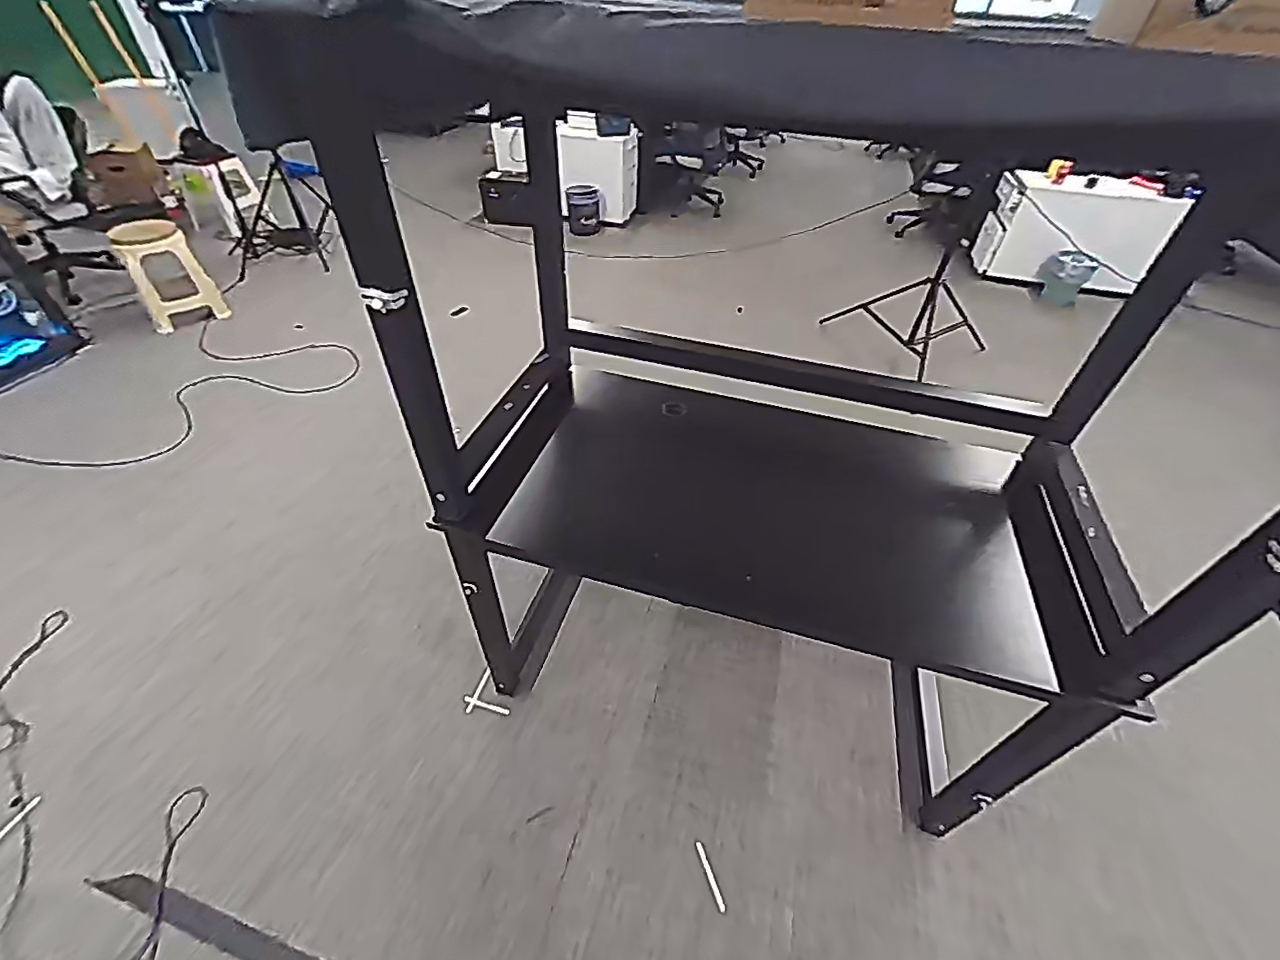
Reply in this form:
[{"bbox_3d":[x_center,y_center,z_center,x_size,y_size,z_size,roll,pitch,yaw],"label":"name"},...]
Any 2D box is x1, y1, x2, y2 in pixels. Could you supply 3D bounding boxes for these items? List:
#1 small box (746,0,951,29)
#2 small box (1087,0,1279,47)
[{"bbox_3d":[0.190,-0.489,0.444,0.168,0.176,0.179,13,42,12],"label":"small box"},{"bbox_3d":[0.478,-0.425,0.393,0.168,0.176,0.179,16,43,14],"label":"small box"}]
